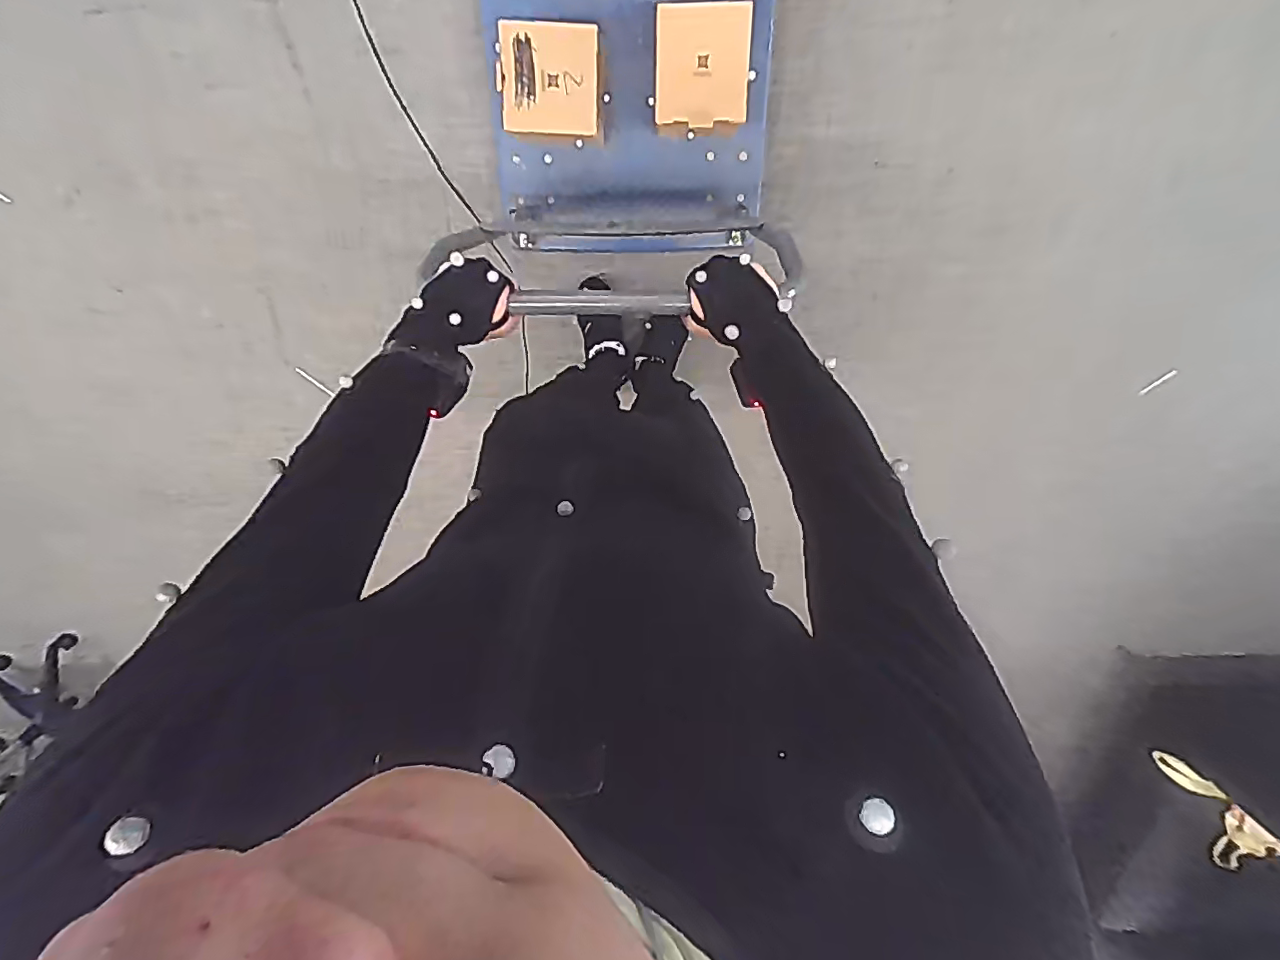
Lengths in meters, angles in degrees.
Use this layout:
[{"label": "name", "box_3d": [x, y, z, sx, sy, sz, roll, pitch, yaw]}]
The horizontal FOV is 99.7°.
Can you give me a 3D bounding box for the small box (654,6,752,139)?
[{"label": "small box", "box_3d": [0.112, -0.767, 1.033, 0.168, 0.176, 0.179, 0, 117, 2]}]
